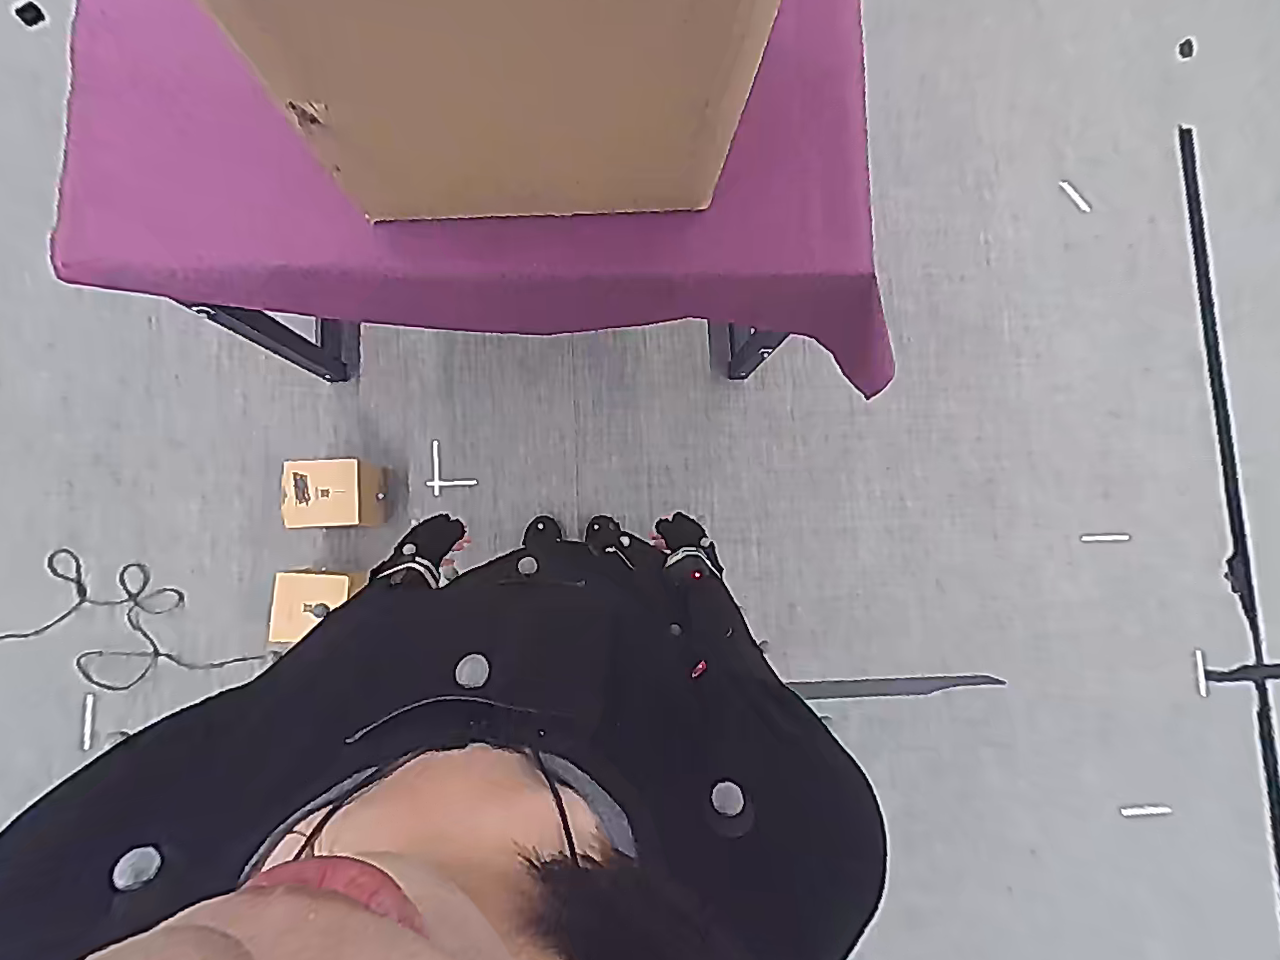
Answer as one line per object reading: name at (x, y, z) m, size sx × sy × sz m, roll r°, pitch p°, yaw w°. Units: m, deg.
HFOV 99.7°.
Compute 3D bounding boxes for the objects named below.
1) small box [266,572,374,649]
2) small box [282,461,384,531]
small box at (-0.797, 0.323, 1.367) m, size 0.179 × 0.176 × 0.168 m, roll 3°, pitch 84°, yaw -3°
small box at (-0.783, 0.046, 1.390) m, size 0.179 × 0.176 × 0.168 m, roll -3°, pitch 85°, yaw -5°
